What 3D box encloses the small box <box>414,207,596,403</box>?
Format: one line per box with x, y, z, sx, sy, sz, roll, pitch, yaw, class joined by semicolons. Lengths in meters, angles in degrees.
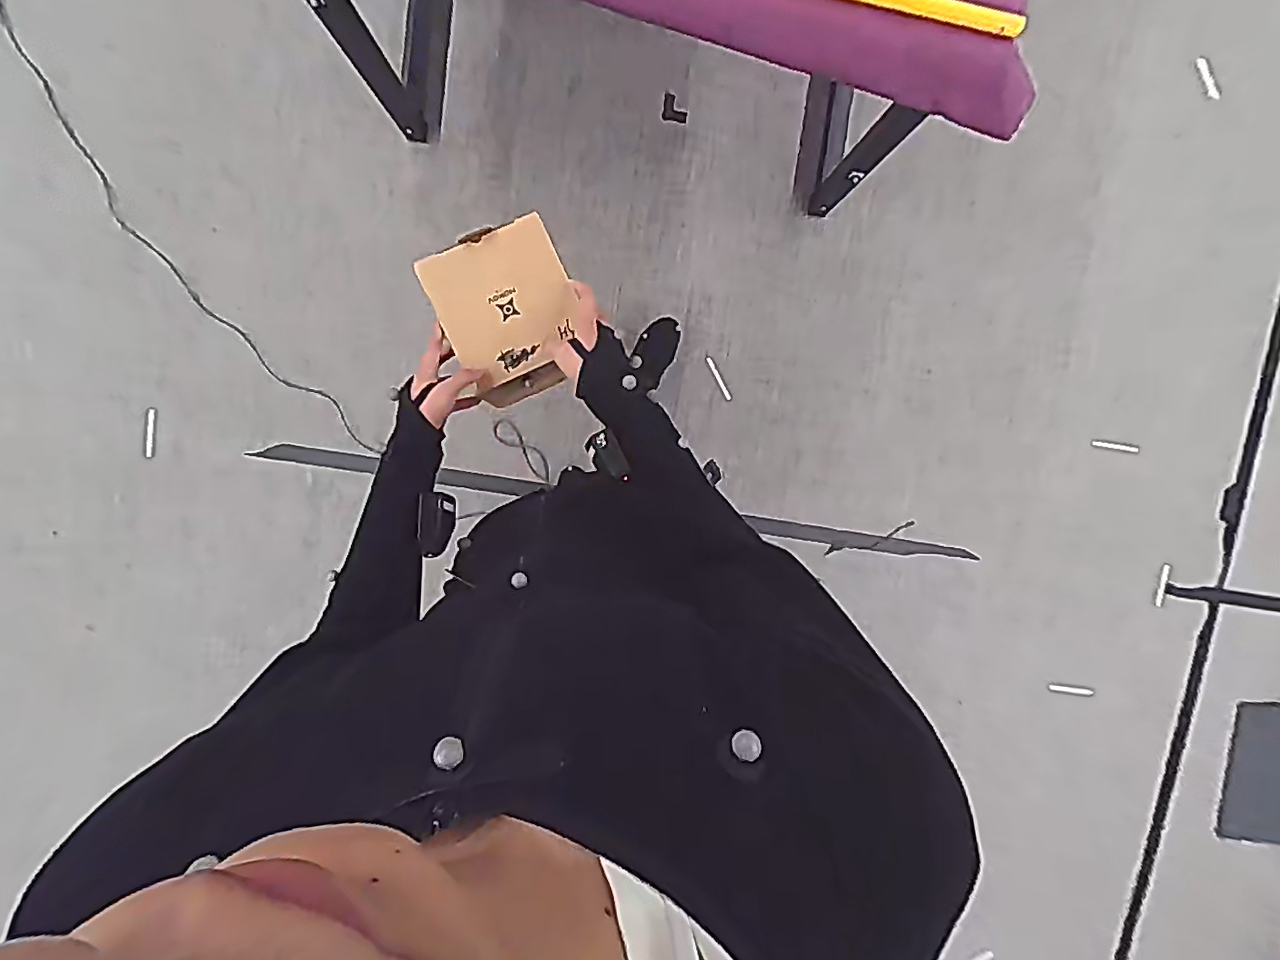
-0.169;-0.220;0.726;0.168;0.176;0.179;-25;94;-3;small box
